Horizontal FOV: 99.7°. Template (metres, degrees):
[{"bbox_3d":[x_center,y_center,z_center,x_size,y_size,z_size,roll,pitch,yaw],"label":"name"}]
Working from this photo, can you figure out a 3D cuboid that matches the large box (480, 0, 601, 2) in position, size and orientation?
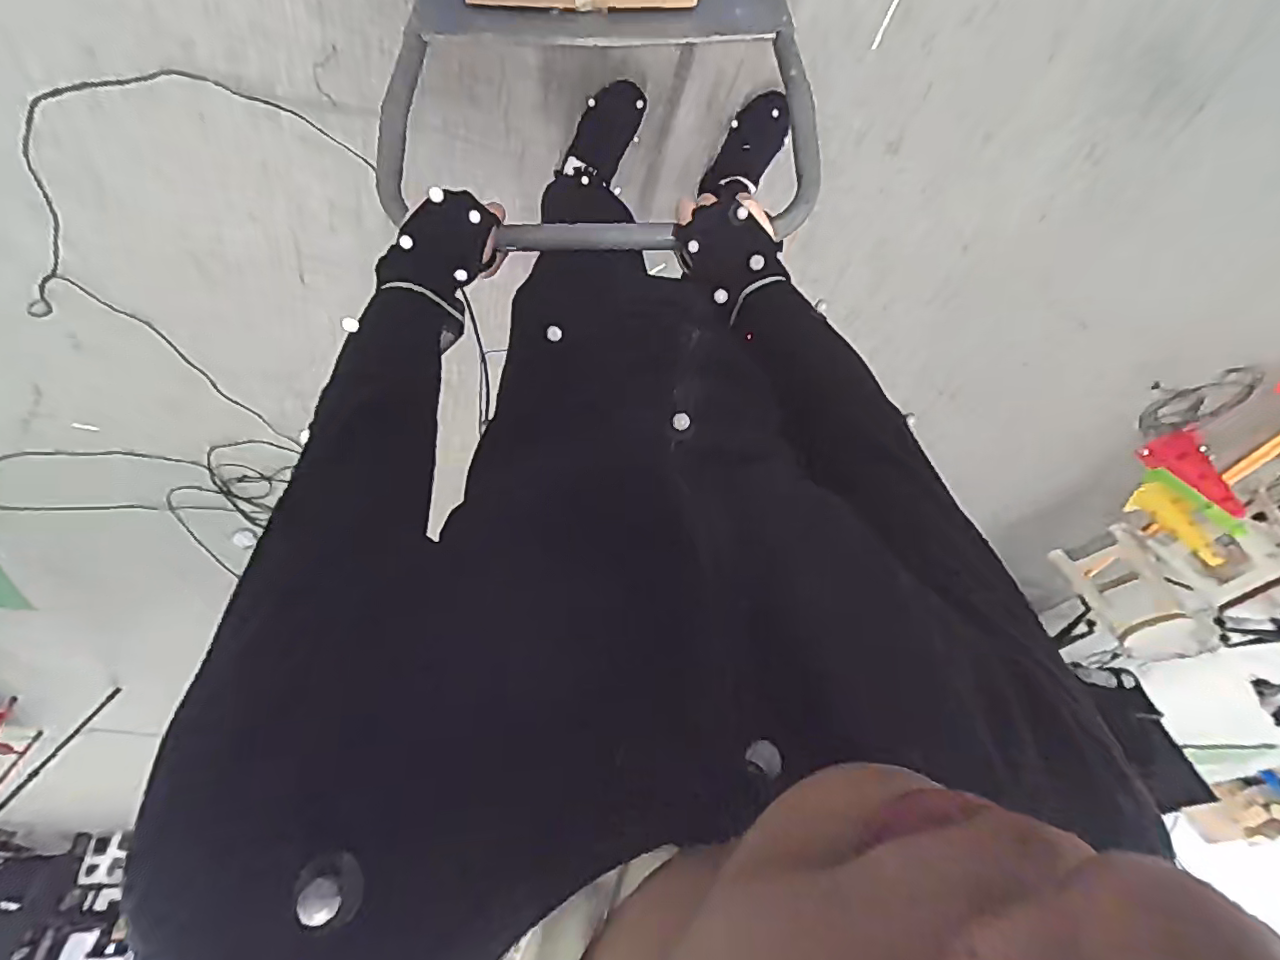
[{"bbox_3d":[-0.077,-0.883,0.648,0.320,0.320,0.408,-1,148,-1],"label":"large box"}]
